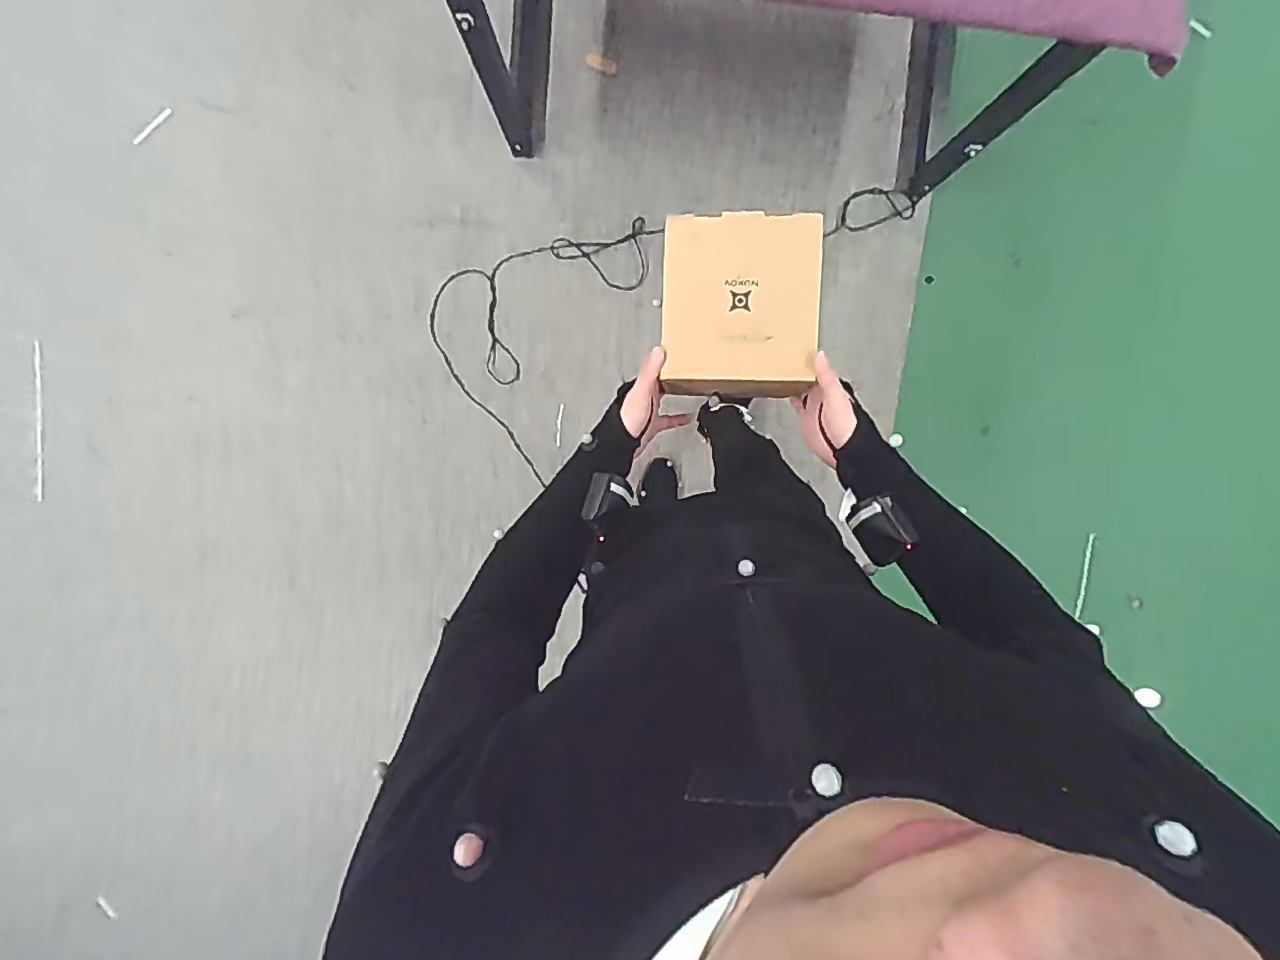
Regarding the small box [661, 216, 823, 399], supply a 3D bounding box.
[{"bbox_3d":[0.112,-0.195,0.654,0.168,0.176,0.179,2,94,4],"label":"small box"}]
